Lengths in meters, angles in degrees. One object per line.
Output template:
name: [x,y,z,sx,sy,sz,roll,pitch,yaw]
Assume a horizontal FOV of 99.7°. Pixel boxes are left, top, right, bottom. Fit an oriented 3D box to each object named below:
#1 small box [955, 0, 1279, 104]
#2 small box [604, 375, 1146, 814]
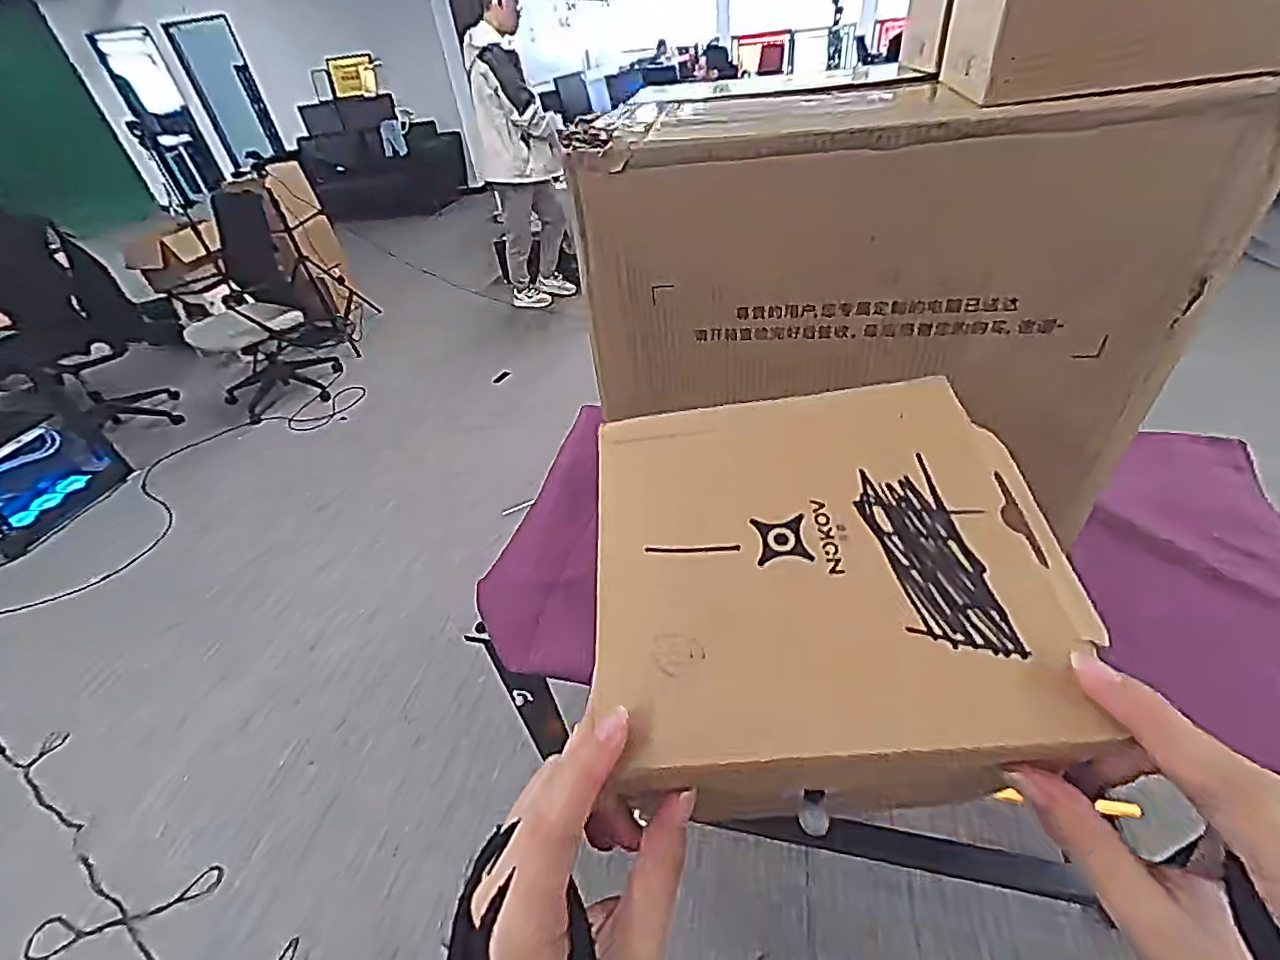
small box: [0.339,-0.378,0.375,0.179,0.176,0.168,2,41,14]
small box: [0.082,0.071,0.285,0.179,0.176,0.168,-6,52,6]
